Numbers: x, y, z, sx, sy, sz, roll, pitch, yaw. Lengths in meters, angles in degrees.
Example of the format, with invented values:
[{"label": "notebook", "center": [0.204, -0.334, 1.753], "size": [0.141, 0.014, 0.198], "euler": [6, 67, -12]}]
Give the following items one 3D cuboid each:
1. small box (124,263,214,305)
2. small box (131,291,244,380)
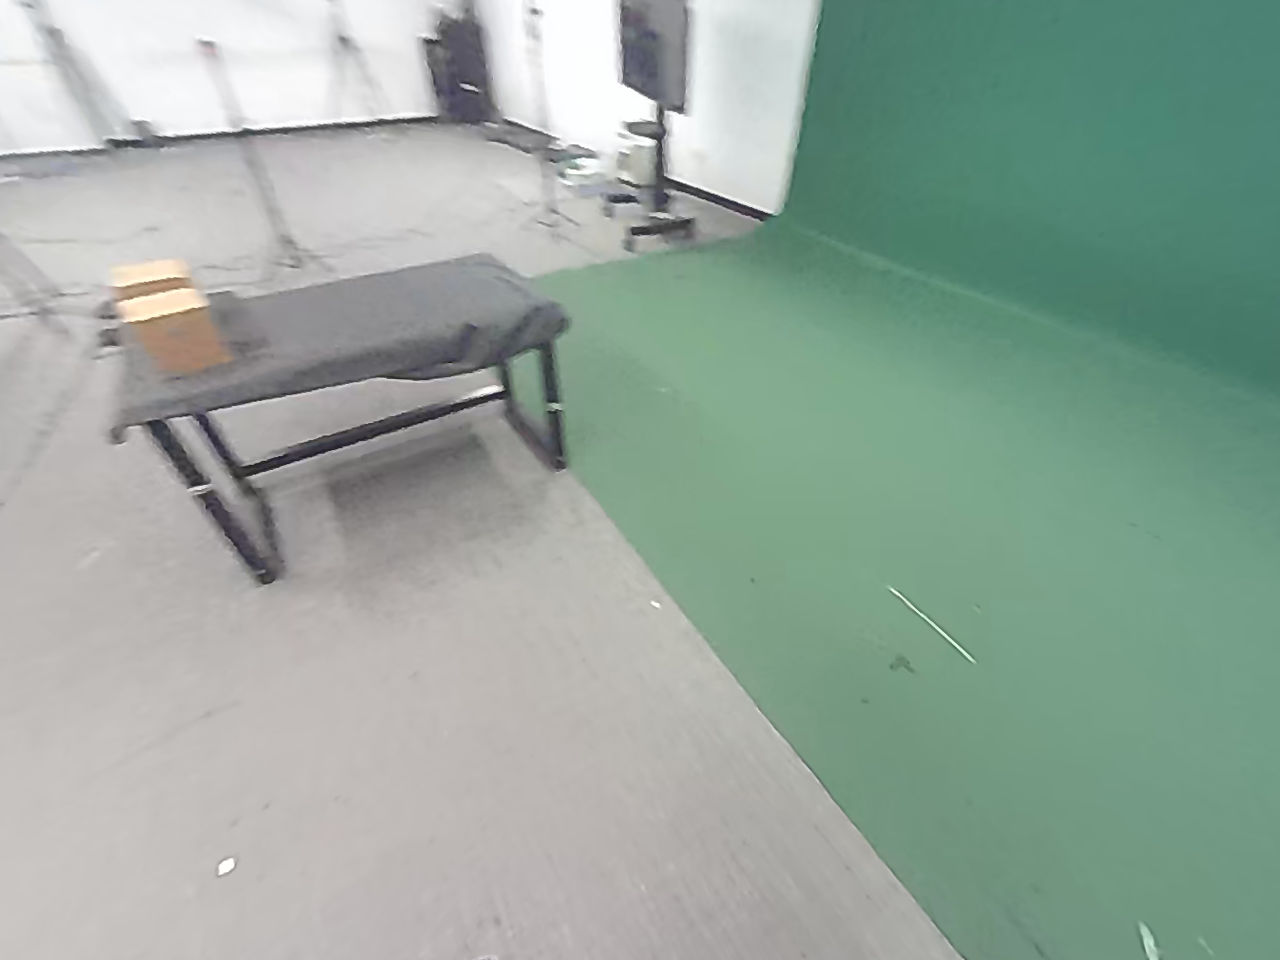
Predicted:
[{"label": "small box", "center": [-1.409, -0.538, 1.641], "size": [0.179, 0.176, 0.168], "euler": [-22, 46, -25]}, {"label": "small box", "center": [-1.233, -0.396, 1.480], "size": [0.179, 0.176, 0.168], "euler": [-29, 49, -32]}]
